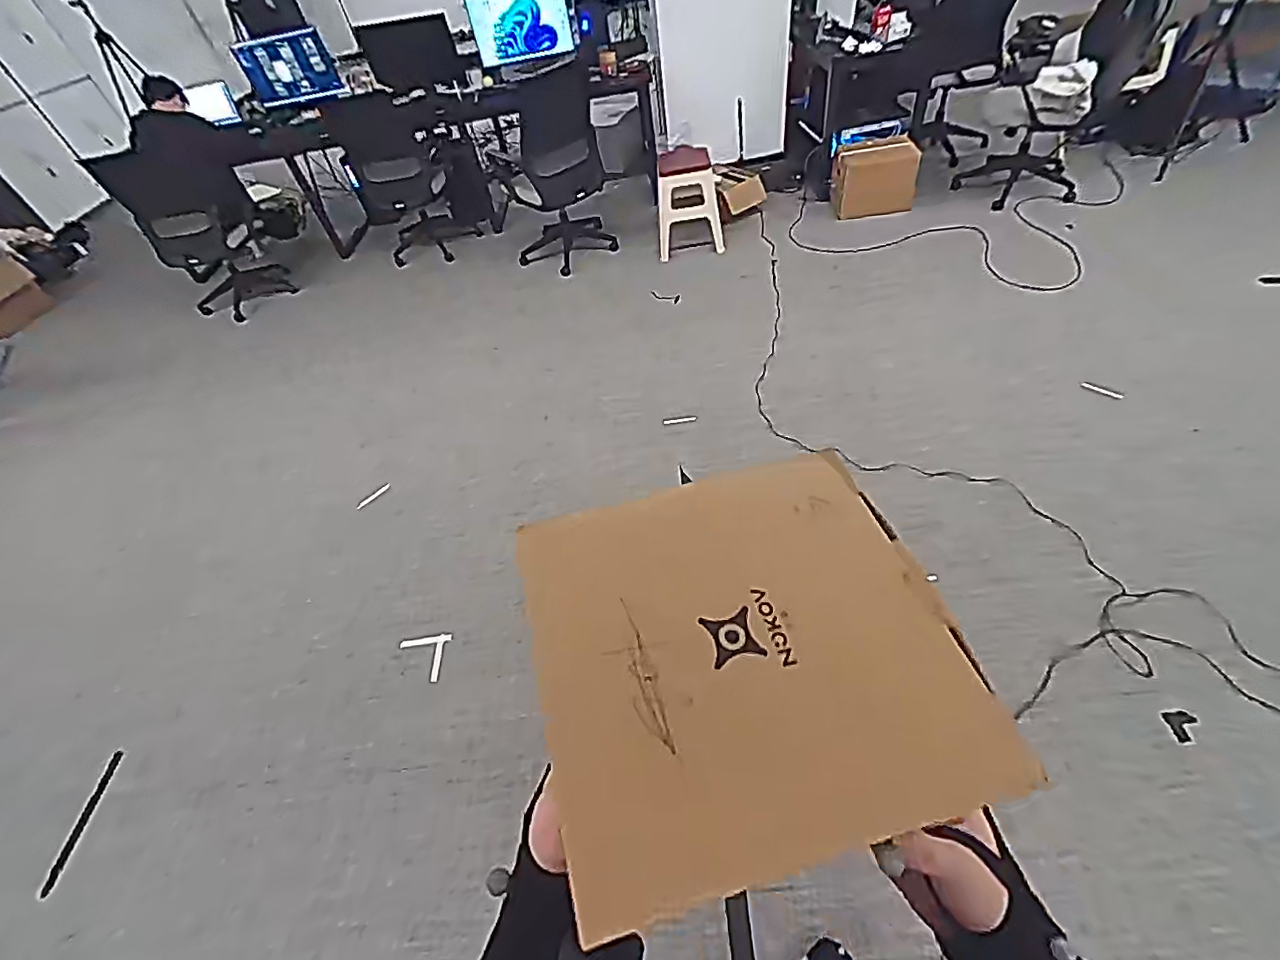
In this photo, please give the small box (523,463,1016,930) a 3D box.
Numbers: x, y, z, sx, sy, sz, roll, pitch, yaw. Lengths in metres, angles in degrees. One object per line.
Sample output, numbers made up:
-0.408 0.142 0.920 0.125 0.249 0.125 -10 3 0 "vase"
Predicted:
0.046 0.120 0.307 0.179 0.176 0.168 -15 53 -8 "small box"
